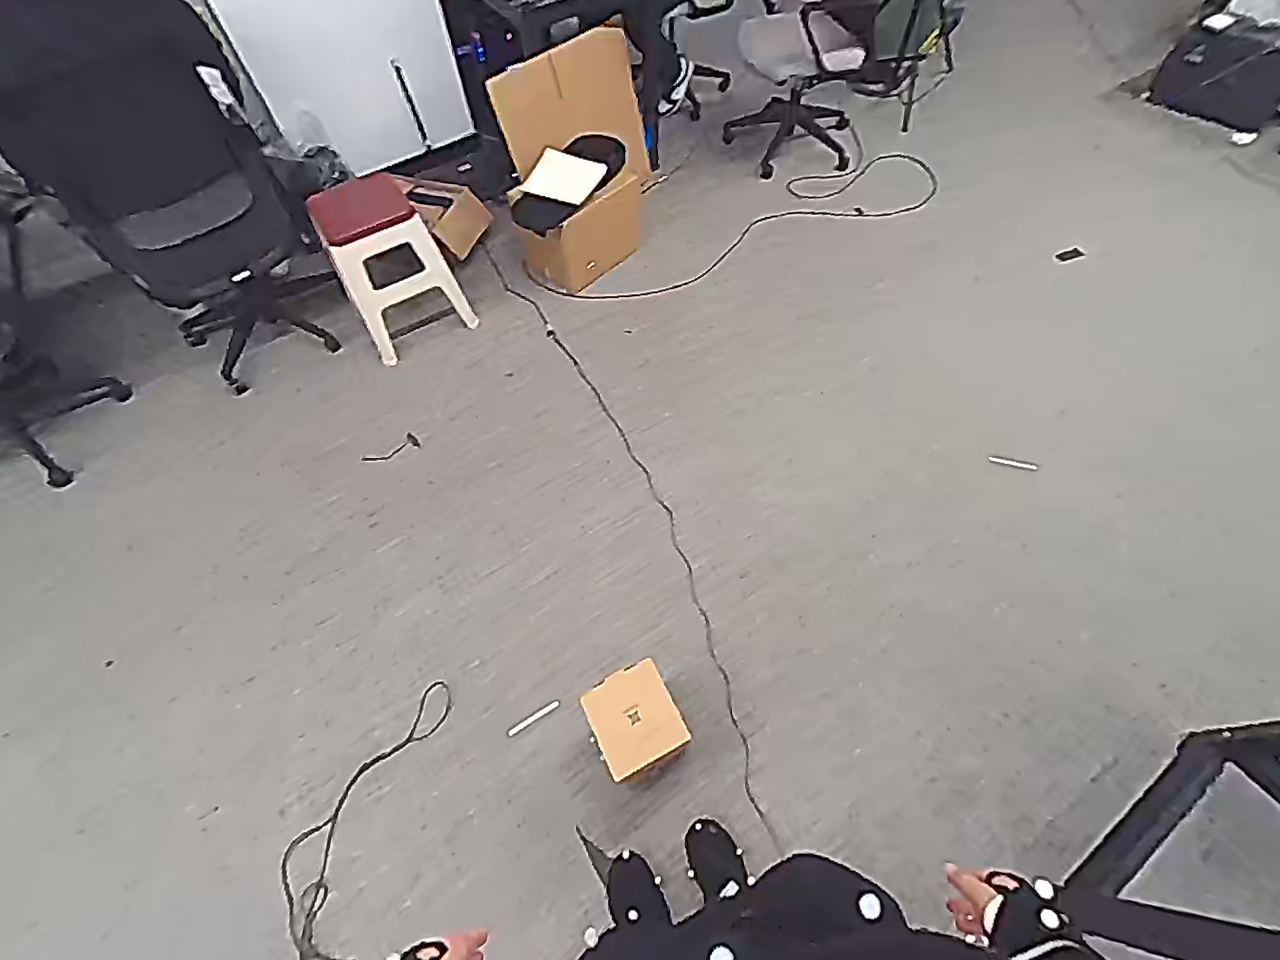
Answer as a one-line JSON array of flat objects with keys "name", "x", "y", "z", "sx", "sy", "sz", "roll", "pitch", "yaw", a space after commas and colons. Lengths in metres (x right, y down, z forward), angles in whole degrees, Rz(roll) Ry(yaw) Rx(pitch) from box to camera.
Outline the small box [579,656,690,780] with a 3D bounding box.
[{"name": "small box", "x": -0.011, "y": 0.501, "z": 1.128, "sx": 0.168, "sy": 0.176, "sz": 0.179, "roll": -26, "pitch": 62, "yaw": -11}]

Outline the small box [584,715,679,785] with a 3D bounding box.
[{"name": "small box", "x": -0.007, "y": 0.590, "z": 1.266, "sx": 0.179, "sy": 0.176, "sz": 0.168, "roll": -30, "pitch": 62, "yaw": -14}]
